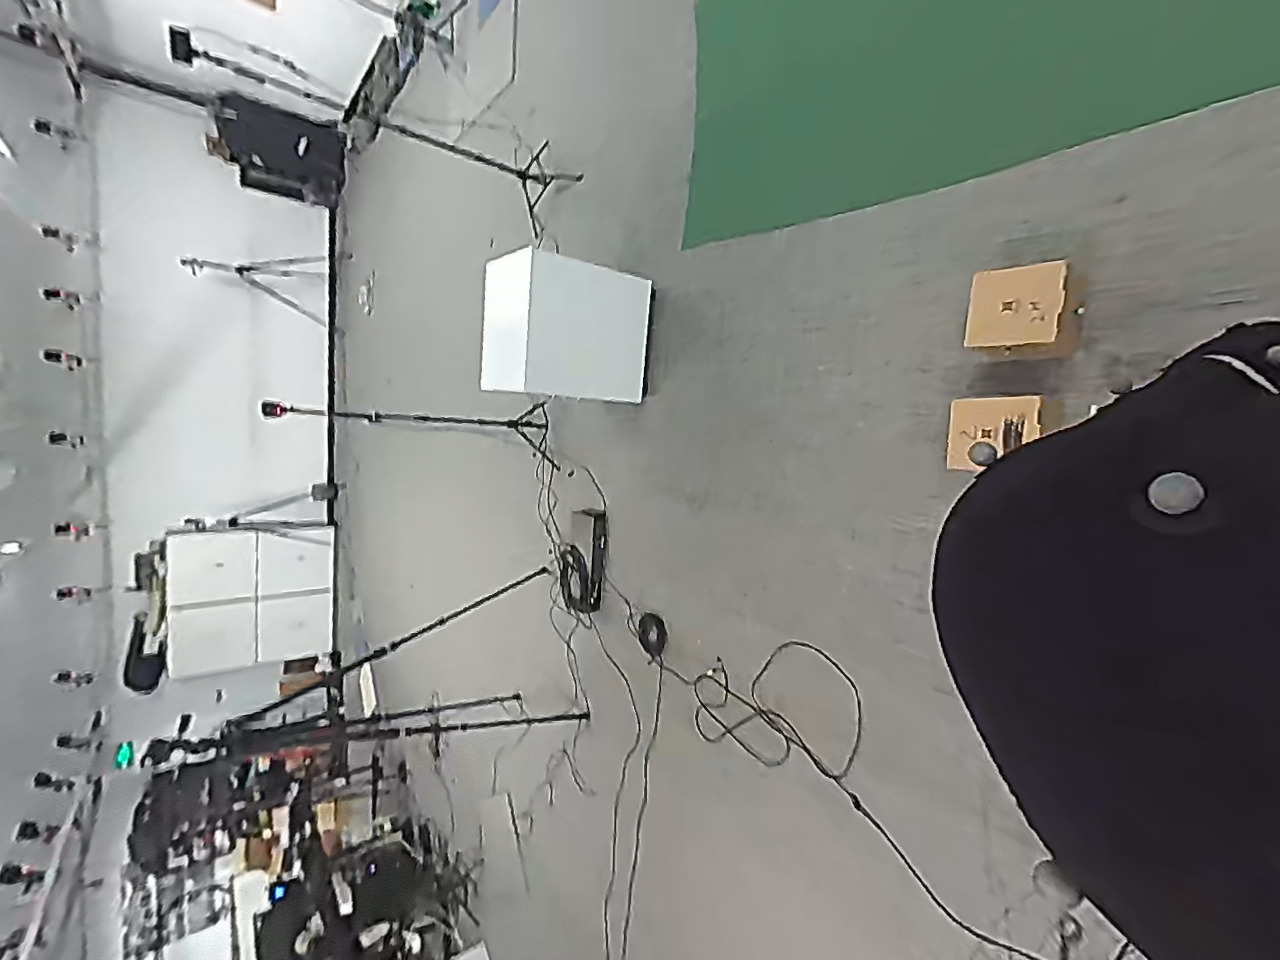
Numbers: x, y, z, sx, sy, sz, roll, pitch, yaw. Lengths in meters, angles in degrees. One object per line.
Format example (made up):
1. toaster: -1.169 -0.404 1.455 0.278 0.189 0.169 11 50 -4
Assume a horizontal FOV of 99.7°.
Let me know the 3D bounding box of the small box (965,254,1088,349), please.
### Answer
1. small box: 0.872 -0.392 1.222 0.179 0.176 0.168 11 100 50
